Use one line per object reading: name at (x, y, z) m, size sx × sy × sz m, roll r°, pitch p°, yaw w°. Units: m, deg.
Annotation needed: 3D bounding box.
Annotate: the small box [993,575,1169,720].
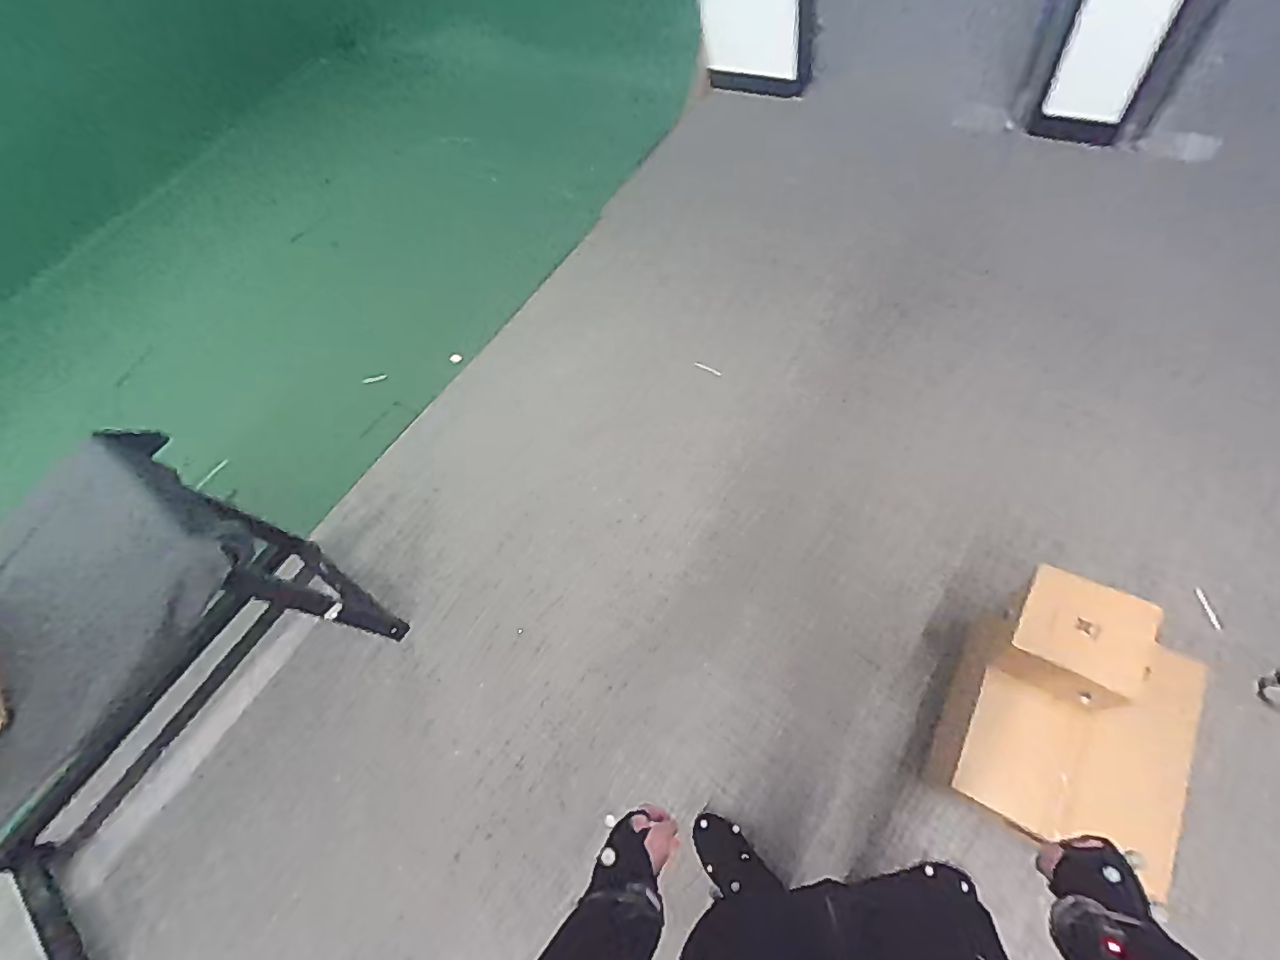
small box at (0.756, 0.297, 0.945) m, size 0.179 × 0.176 × 0.168 m, roll 23°, pitch 69°, yaw 30°
